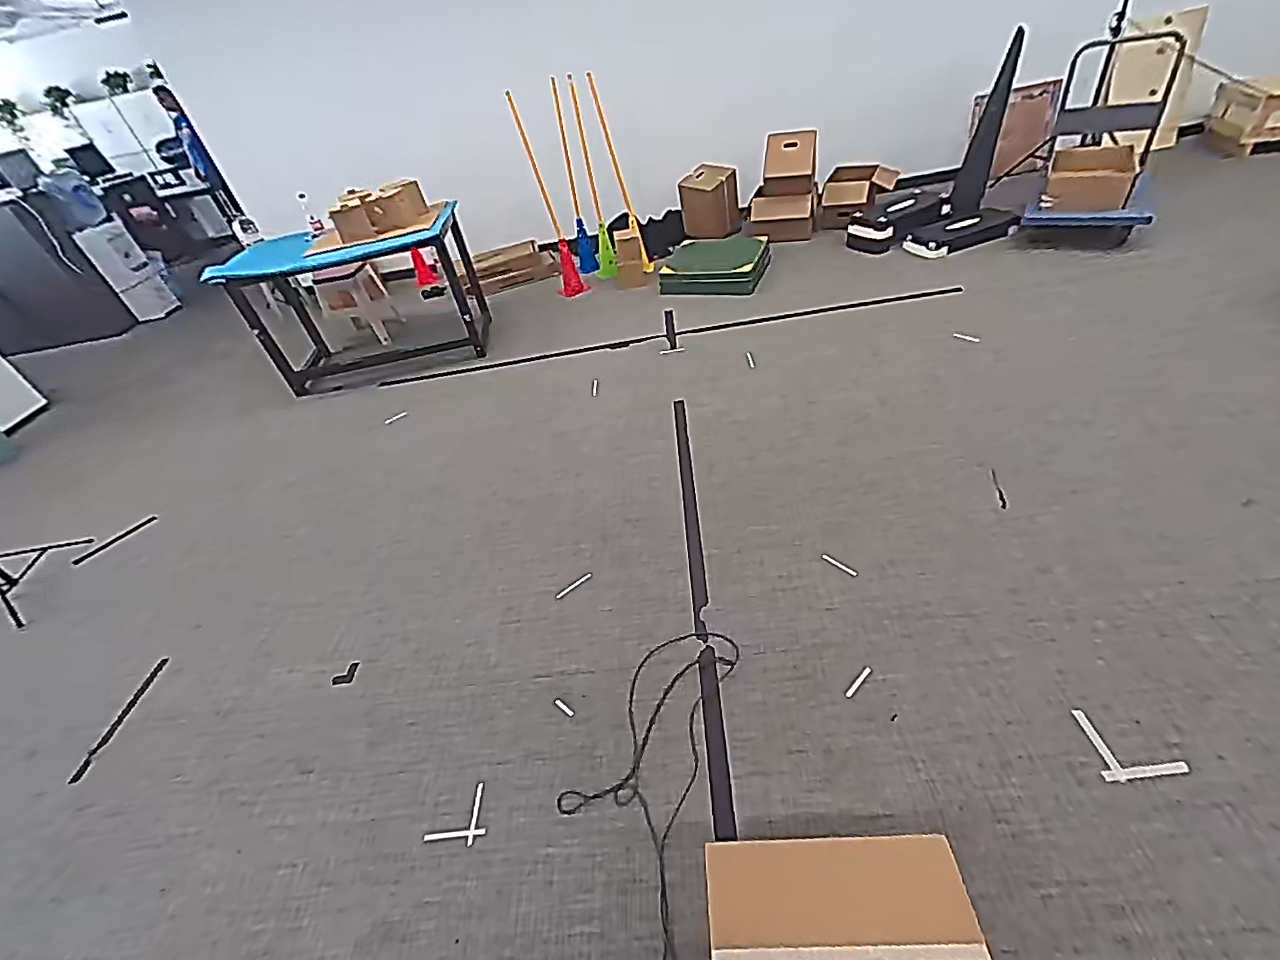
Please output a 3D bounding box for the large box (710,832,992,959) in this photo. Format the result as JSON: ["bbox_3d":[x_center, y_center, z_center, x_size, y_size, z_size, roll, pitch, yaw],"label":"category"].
[{"bbox_3d":[0.341,0.828,0.907,0.408,0.320,0.320,-7,41,7],"label":"large box"}]
